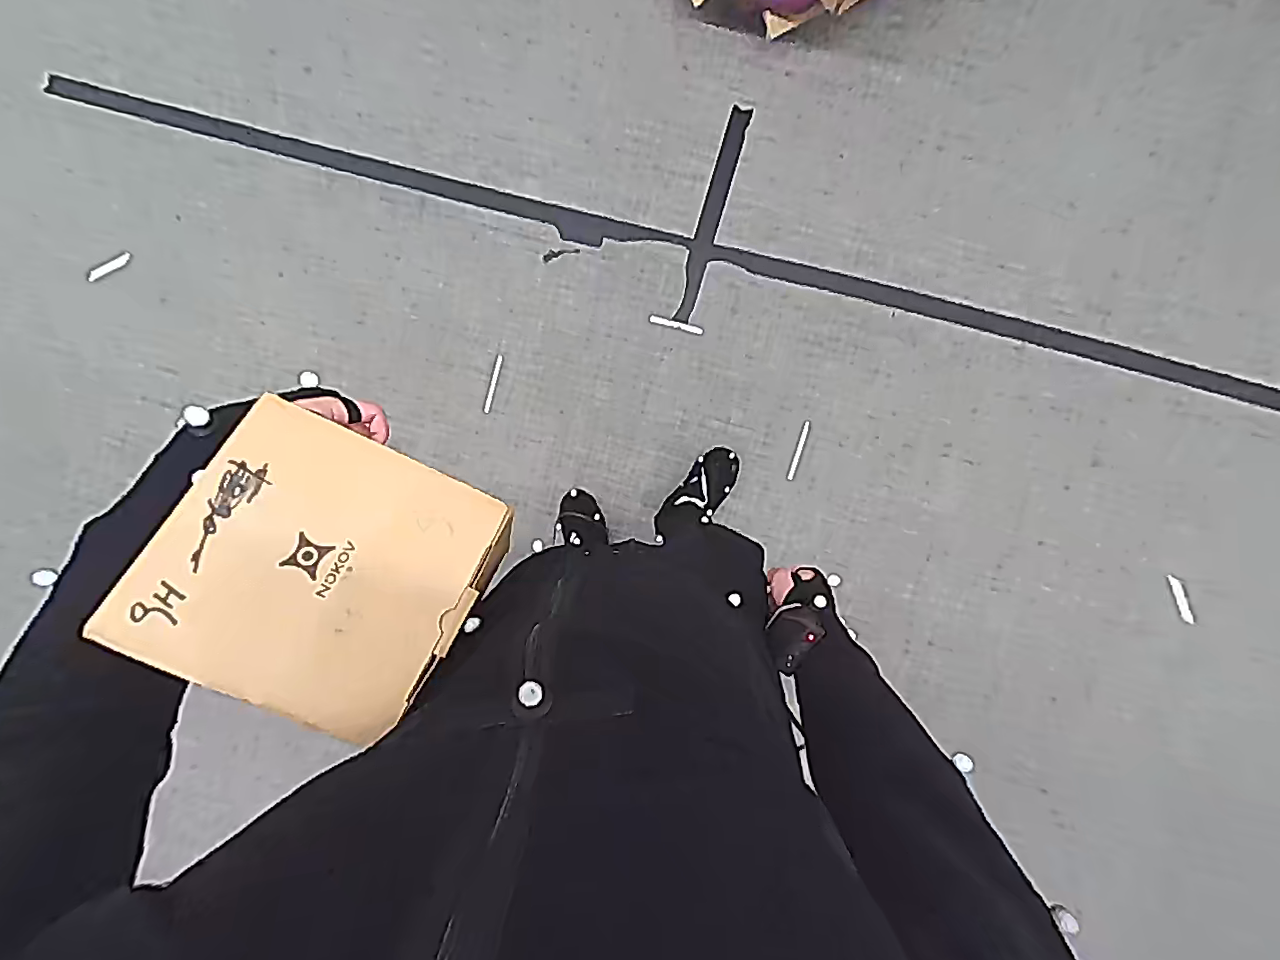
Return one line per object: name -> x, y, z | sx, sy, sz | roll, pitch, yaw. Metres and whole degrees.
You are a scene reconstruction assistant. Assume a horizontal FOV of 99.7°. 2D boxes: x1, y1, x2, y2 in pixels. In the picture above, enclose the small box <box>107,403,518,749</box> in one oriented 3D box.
small box -> -0.211, 0.074, 0.412 | 0.179, 0.176, 0.168 | 26, 70, -8
